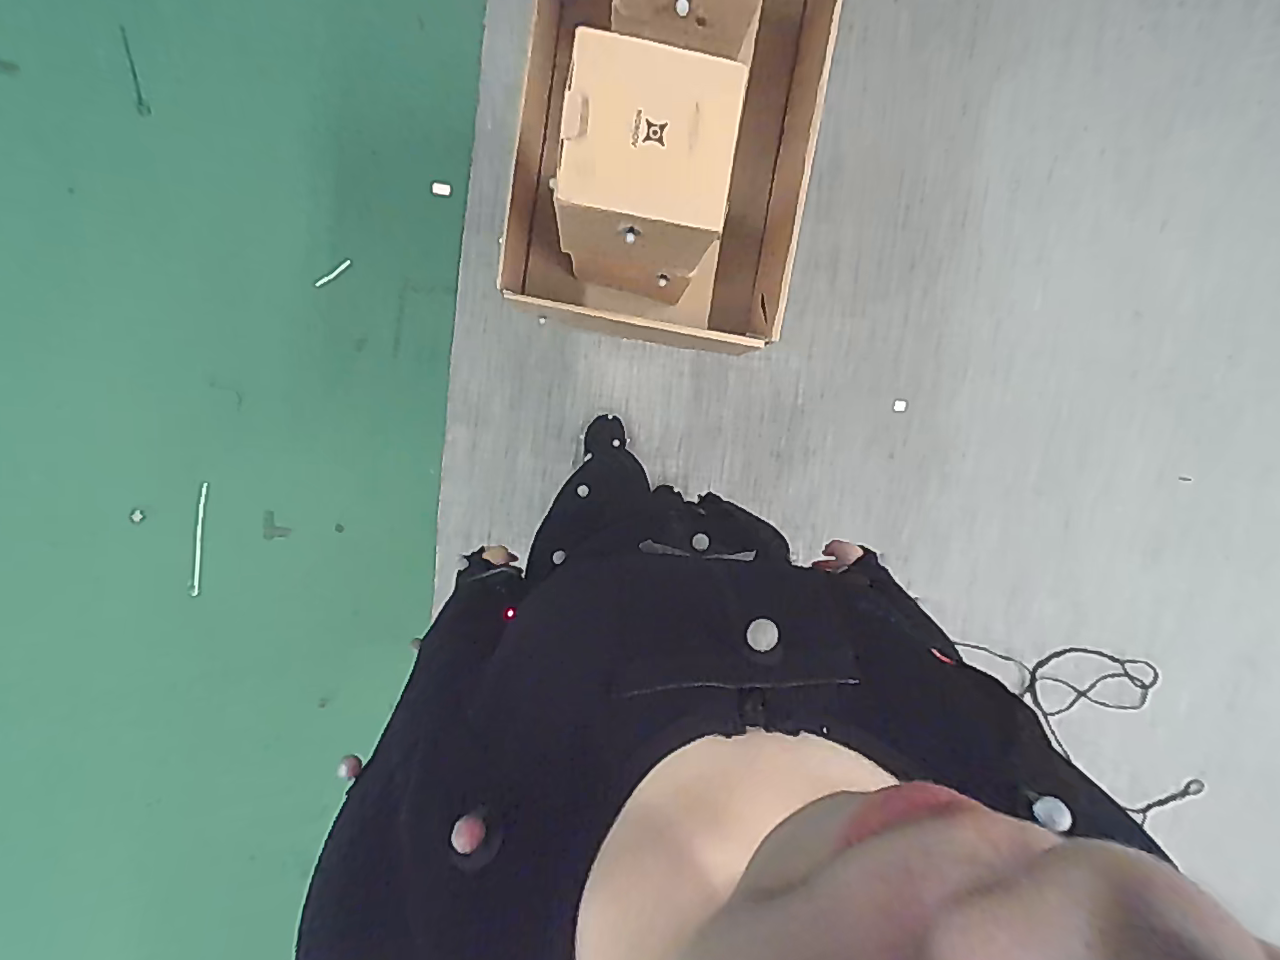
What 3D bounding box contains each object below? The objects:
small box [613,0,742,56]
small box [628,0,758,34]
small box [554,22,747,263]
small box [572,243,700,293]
[{"bbox_3d":[0.058,-0.673,0.746,0.179,0.176,0.168,10,98,-6],"label":"small box"},{"bbox_3d":[0.073,-0.646,0.585,0.168,0.176,0.179,8,98,-6],"label":"small box"},{"bbox_3d":[0.003,-0.363,0.620,0.179,0.176,0.168,7,97,-7],"label":"small box"},{"bbox_3d":[0.000,-0.384,0.780,0.179,0.176,0.168,12,95,-7],"label":"small box"}]
